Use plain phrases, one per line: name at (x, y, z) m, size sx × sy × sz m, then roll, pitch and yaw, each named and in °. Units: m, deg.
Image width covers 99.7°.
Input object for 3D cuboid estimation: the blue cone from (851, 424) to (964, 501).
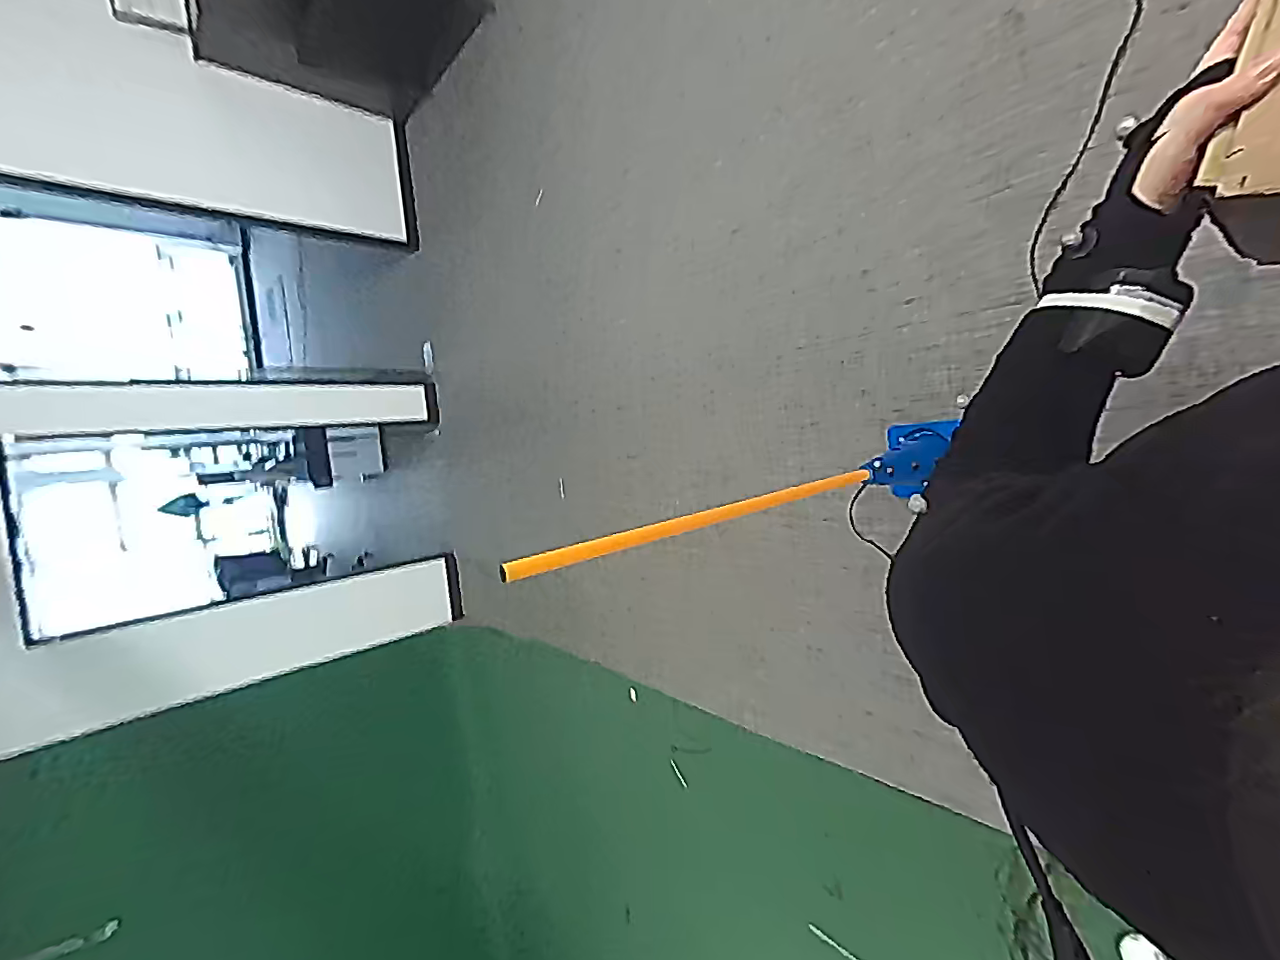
blue cone at (0.618, -0.023, 1.305) m, size 0.193 × 0.380 × 0.192 m, roll -4°, pitch 93°, yaw 49°
